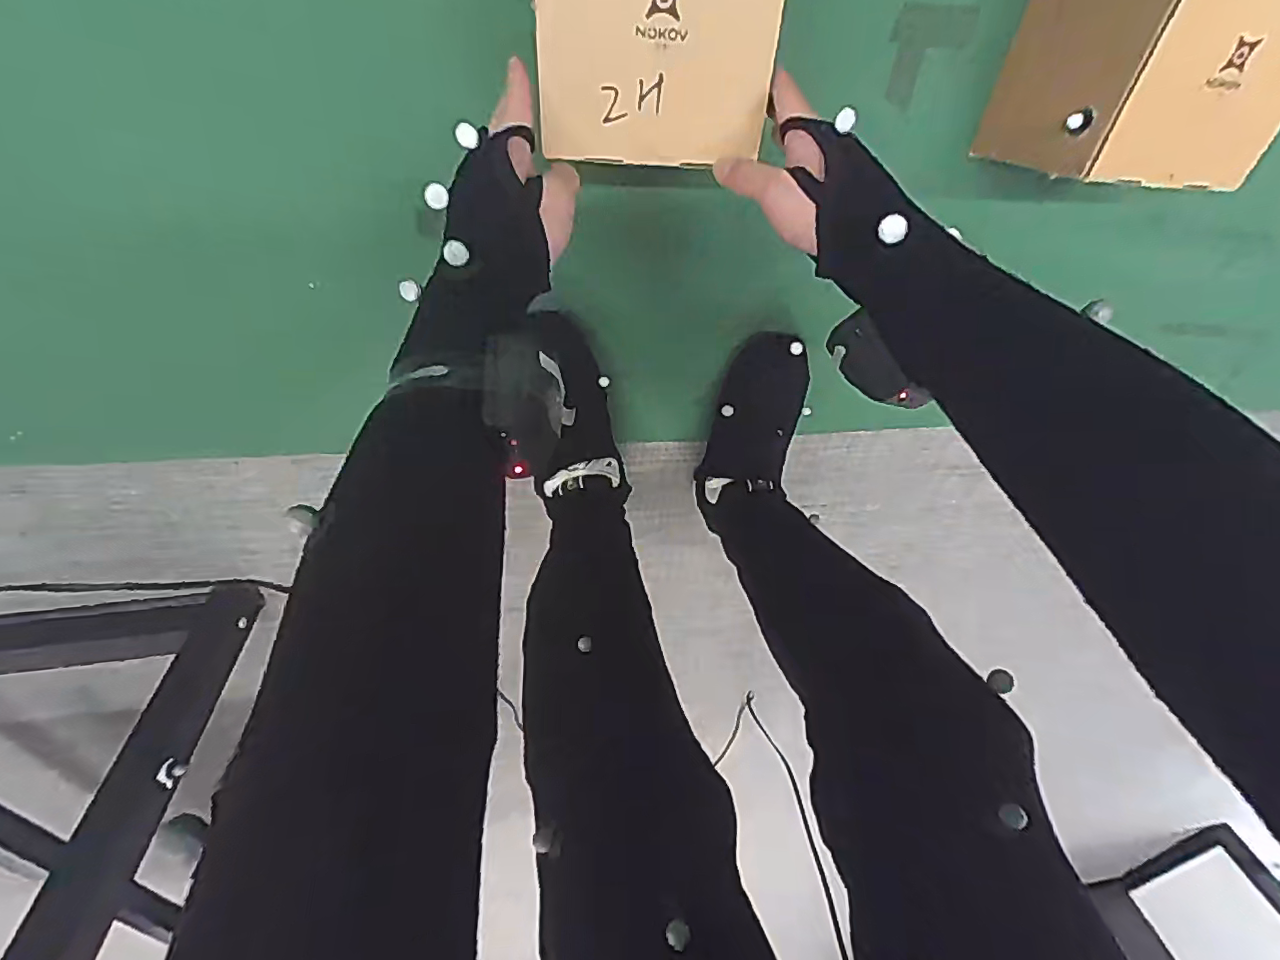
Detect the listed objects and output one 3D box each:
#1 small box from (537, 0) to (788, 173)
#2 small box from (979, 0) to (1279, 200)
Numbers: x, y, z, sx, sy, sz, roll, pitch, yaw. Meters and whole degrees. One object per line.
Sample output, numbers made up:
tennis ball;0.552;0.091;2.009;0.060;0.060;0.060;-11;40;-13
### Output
small box;0.005;-0.354;0.418;0.168;0.176;0.179;-1;129;-9
small box;0.457;-0.371;0.489;0.168;0.176;0.179;-2;129;-10
